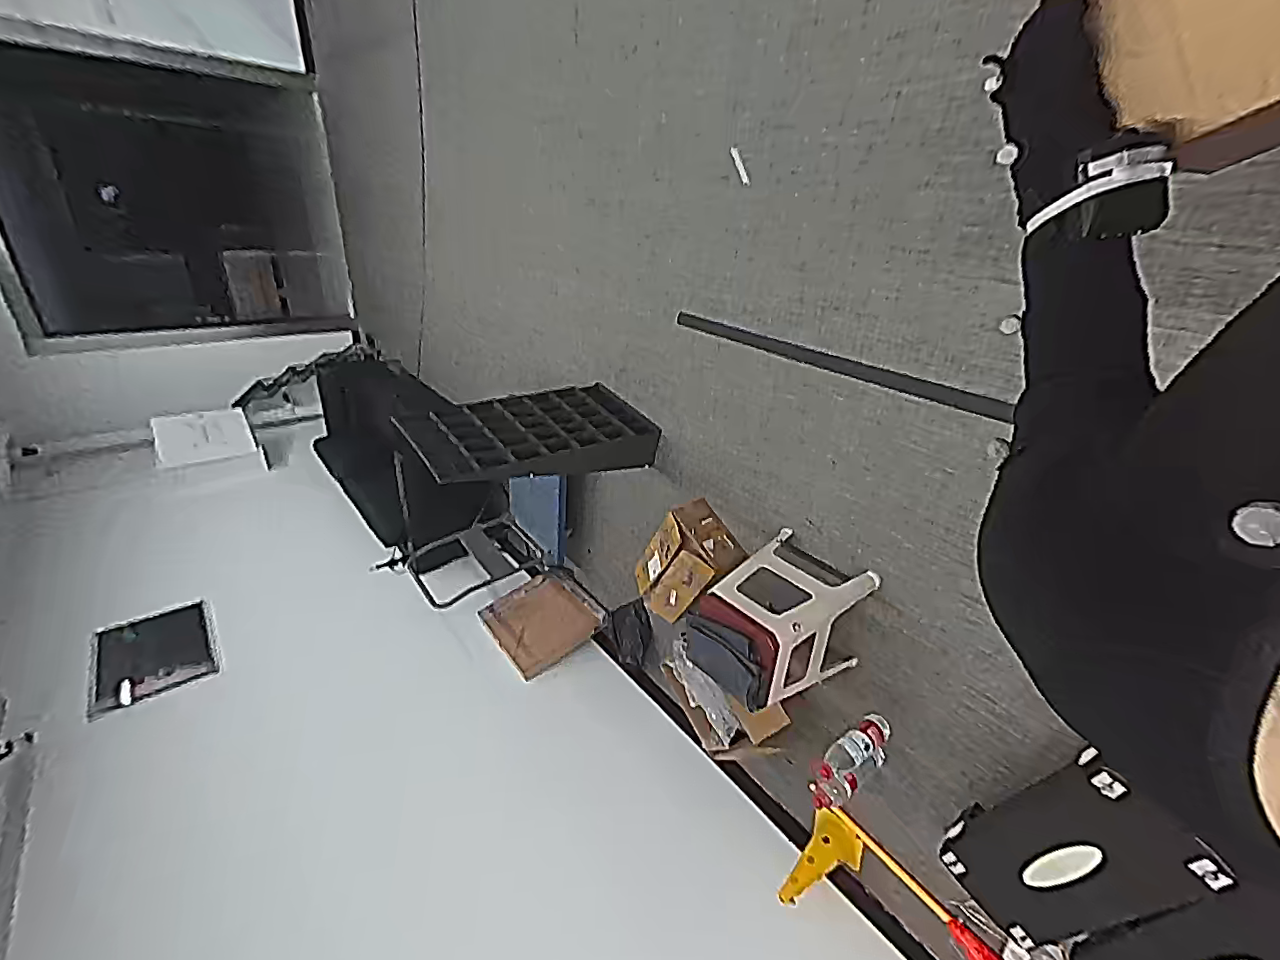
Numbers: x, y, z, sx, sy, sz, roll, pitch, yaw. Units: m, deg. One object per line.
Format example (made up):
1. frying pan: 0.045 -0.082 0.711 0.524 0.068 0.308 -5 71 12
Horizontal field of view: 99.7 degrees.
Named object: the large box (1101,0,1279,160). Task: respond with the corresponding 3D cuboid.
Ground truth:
1. large box: 0.559 -0.463 0.324 0.408 0.320 0.320 -10 99 56
